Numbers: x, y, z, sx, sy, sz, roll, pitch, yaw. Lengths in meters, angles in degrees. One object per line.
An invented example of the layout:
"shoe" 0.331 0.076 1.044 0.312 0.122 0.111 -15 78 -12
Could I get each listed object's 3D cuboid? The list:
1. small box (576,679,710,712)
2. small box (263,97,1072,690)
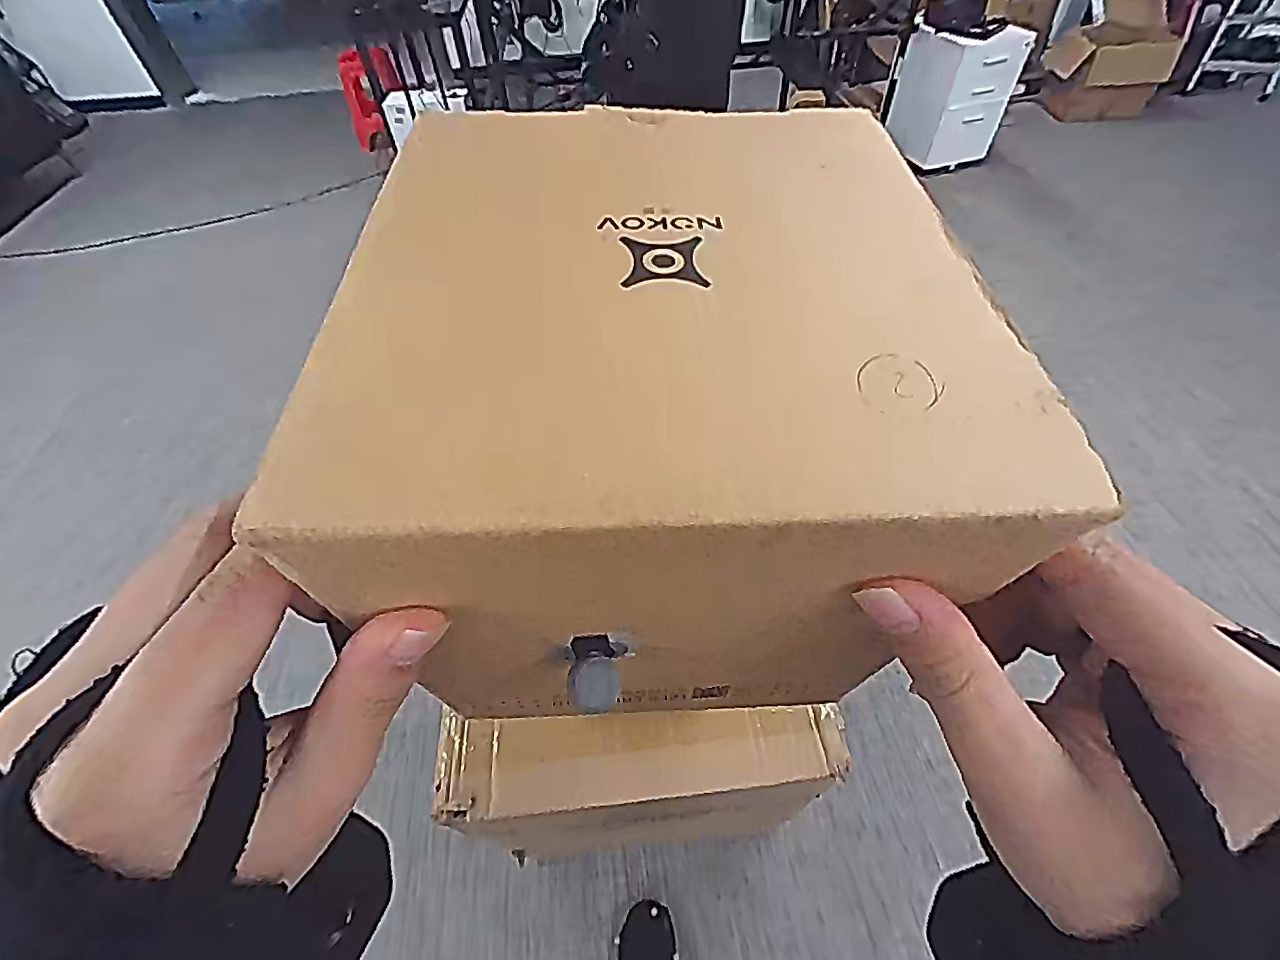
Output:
"small box" -0.001 0.192 0.709 0.179 0.176 0.168 -5 51 -1
"small box" 0.003 -0.023 0.219 0.168 0.176 0.179 -2 54 -2
